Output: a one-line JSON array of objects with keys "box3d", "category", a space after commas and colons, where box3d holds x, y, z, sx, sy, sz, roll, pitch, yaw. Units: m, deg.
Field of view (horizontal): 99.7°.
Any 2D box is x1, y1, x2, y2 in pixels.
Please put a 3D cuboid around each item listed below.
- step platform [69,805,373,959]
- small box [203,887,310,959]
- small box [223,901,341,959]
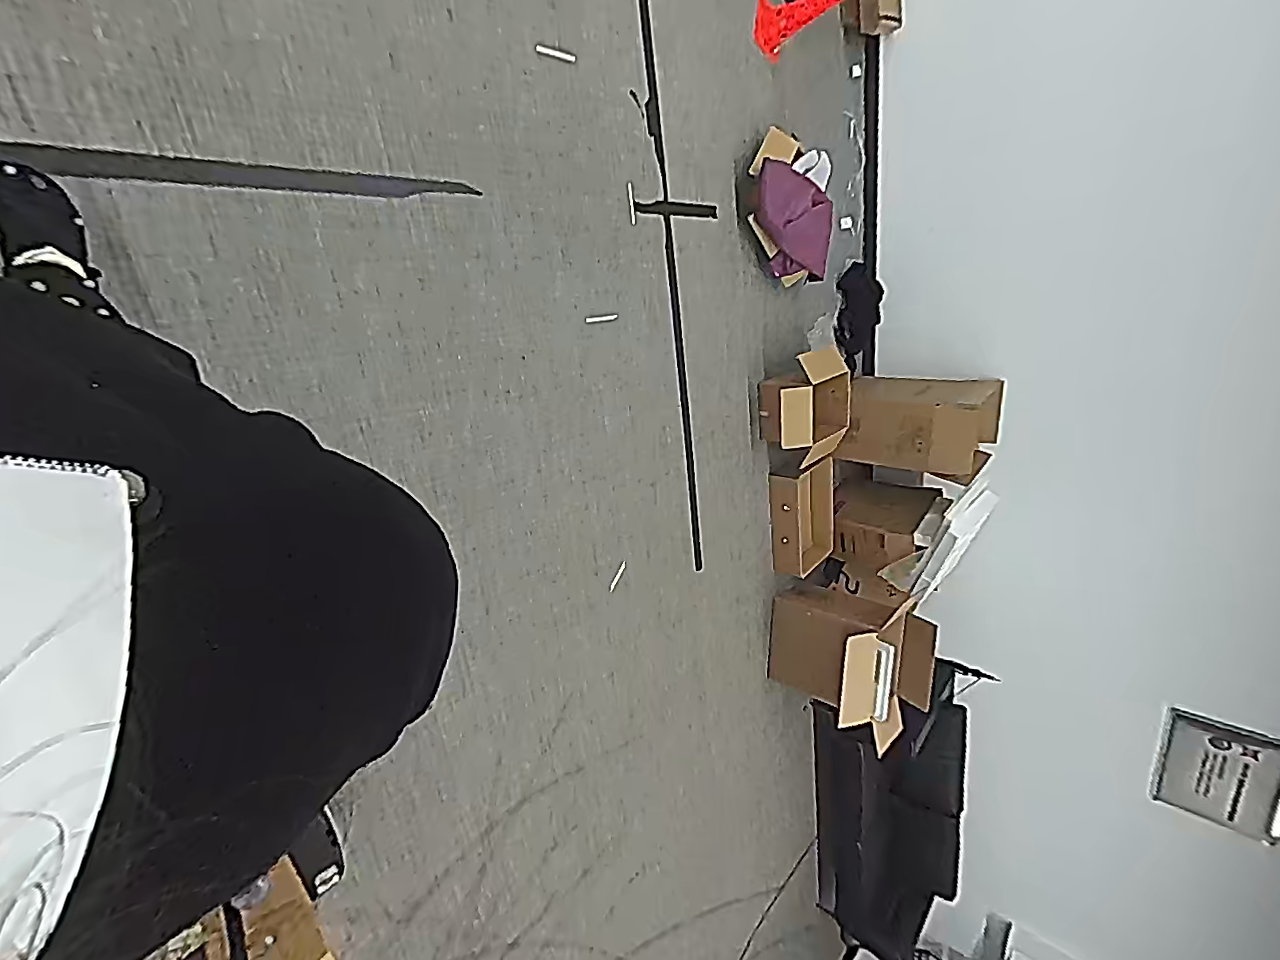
[{"box3d": [-0.895, 0.972, 1.013, 0.684, 0.204, 0.286, -26, 117, -41], "category": "step platform"}, {"box3d": [-0.802, 0.958, 1.160, 0.168, 0.176, 0.179, -26, 116, -41], "category": "small box"}, {"box3d": [-0.682, 0.985, 1.052, 0.168, 0.176, 0.179, -28, 117, -40], "category": "small box"}]
